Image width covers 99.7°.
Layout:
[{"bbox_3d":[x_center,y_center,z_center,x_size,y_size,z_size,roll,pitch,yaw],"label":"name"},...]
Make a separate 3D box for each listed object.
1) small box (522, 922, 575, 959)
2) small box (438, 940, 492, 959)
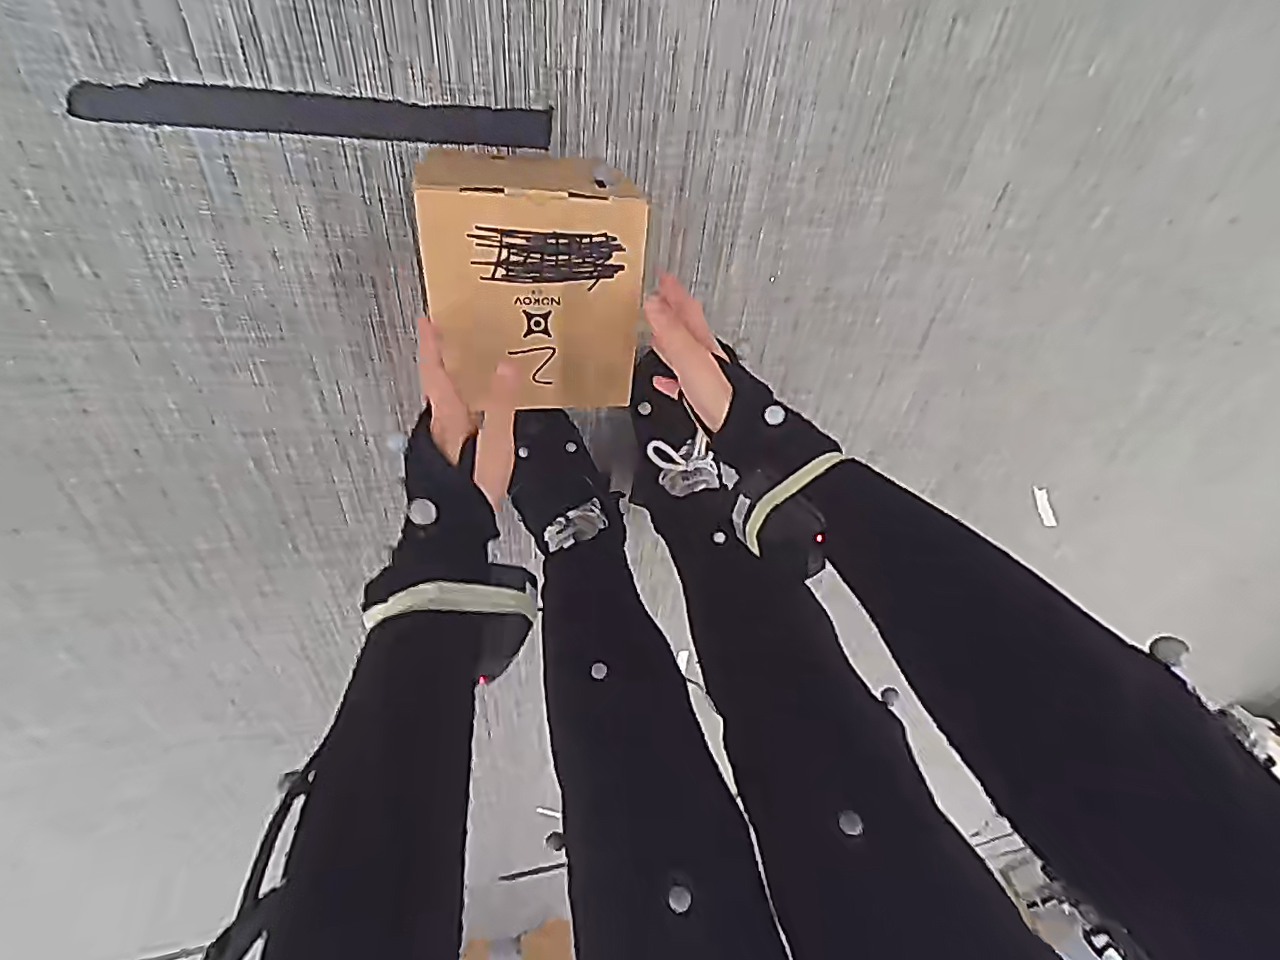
[{"bbox_3d":[-0.321,1.693,1.900,0.179,0.176,0.168,-2,127,-15],"label":"small box"},{"bbox_3d":[-0.592,1.692,1.817,0.179,0.176,0.168,0,127,-16],"label":"small box"}]
